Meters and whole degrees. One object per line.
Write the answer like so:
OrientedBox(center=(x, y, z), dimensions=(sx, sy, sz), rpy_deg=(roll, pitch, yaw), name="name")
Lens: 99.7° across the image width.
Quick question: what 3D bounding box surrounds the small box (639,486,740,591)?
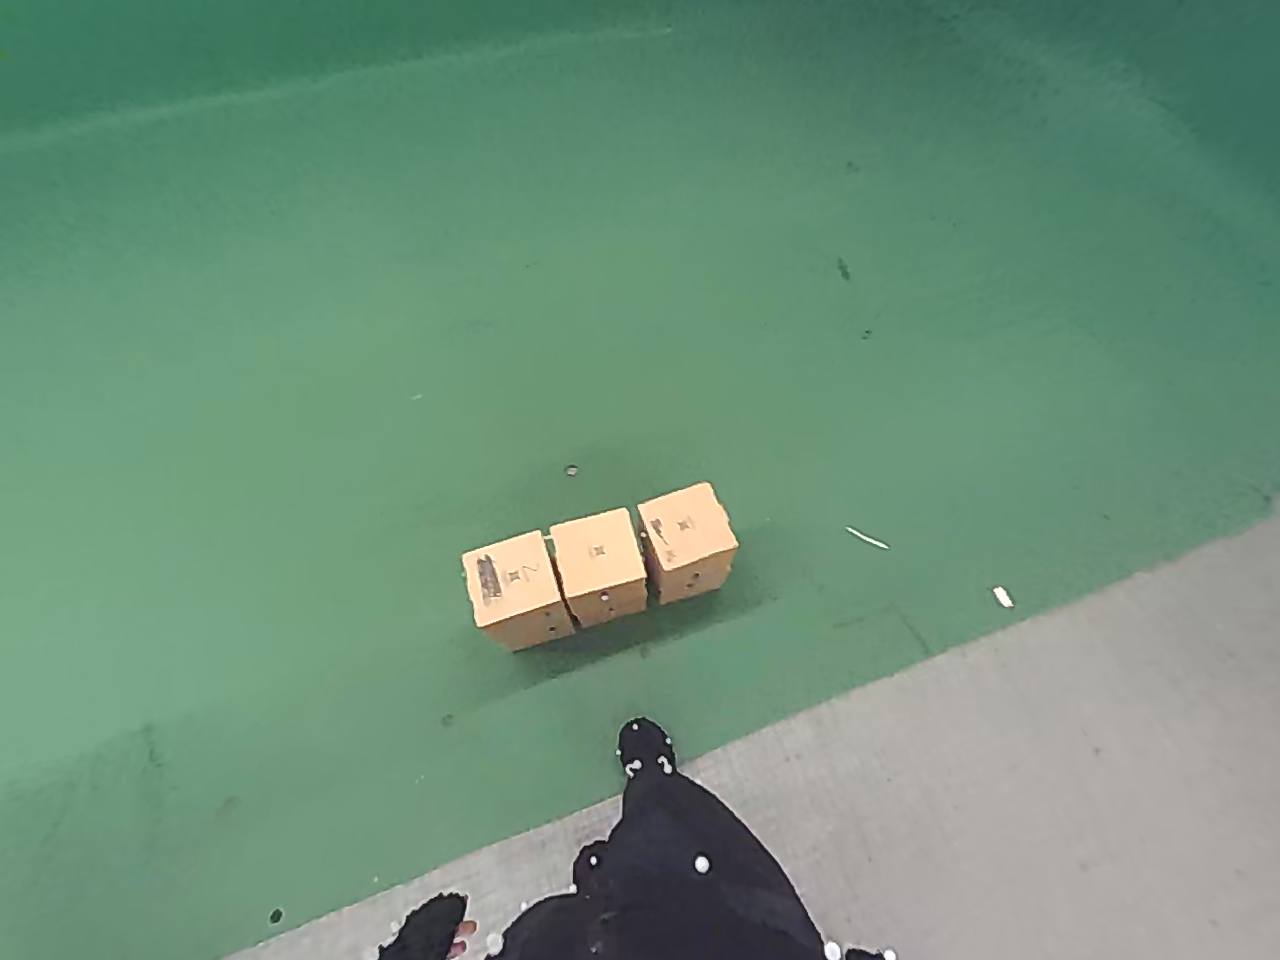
OrientedBox(center=(0.106, 0.139, 1.256), dimensions=(0.179, 0.176, 0.168), rpy_deg=(-17, 65, -10), name="small box")
